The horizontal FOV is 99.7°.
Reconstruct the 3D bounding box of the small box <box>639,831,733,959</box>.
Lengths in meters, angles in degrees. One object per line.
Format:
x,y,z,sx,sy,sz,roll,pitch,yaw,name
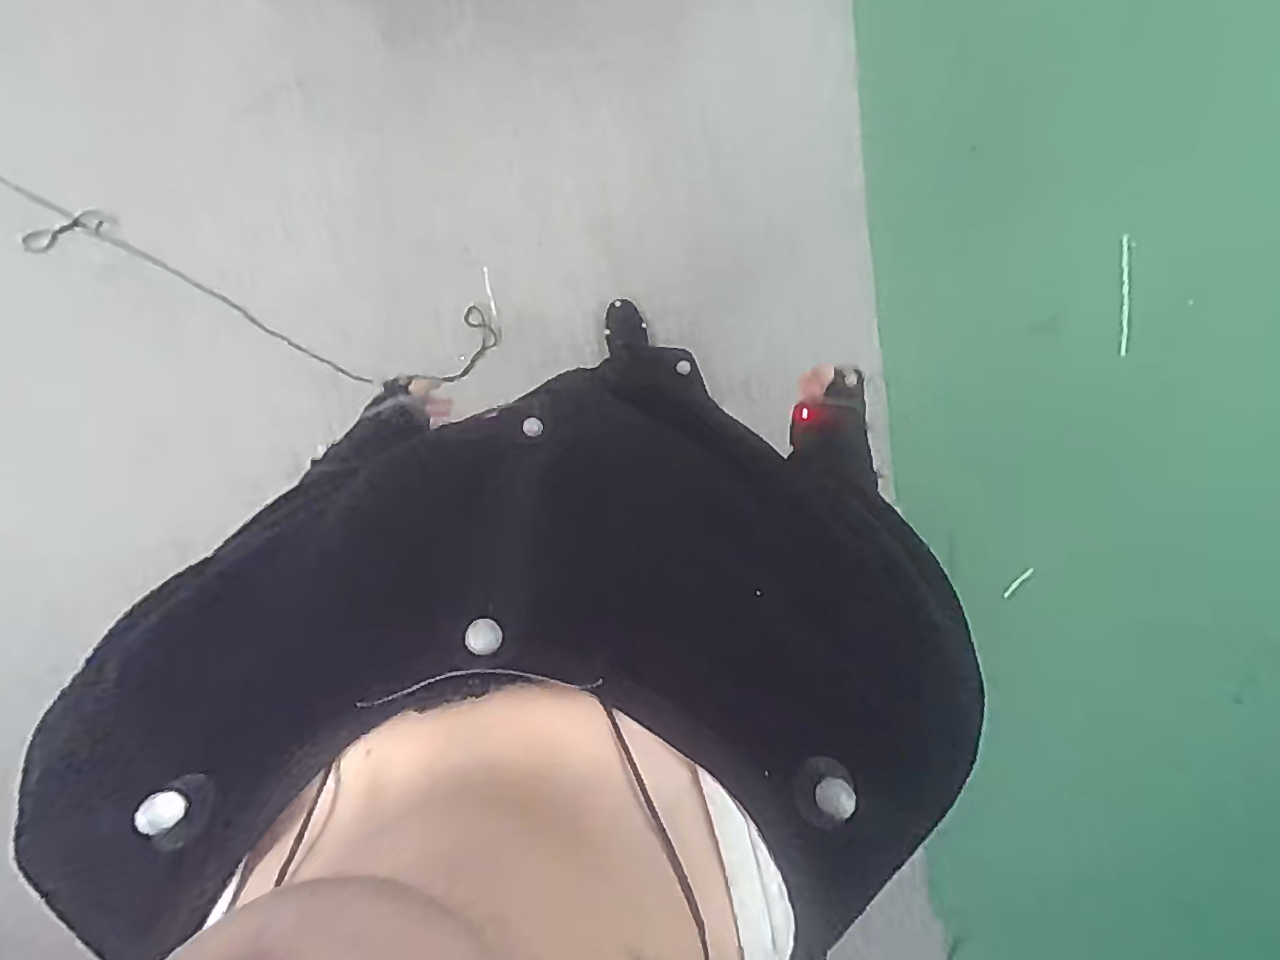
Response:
0.096,0.922,1.185,0.168,0.176,0.179,-13,101,0,small box
